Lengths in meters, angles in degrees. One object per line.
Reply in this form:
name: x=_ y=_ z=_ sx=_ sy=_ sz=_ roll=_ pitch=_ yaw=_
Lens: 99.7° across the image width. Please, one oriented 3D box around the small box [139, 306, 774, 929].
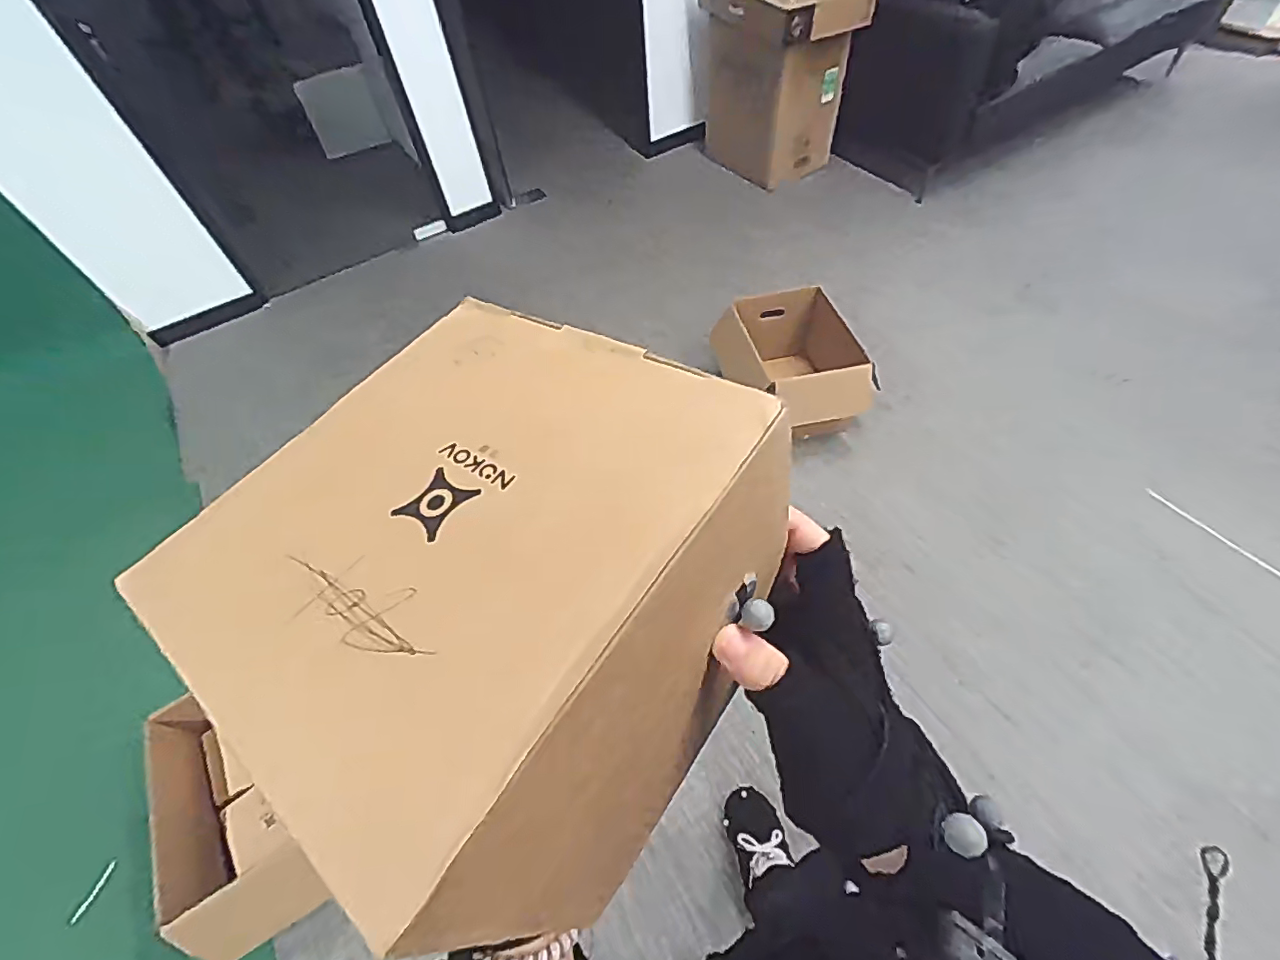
small box: x=-0.053 y=0.055 z=0.253 sx=0.168 sy=0.176 sz=0.179 roll=26 pitch=64 yaw=29
